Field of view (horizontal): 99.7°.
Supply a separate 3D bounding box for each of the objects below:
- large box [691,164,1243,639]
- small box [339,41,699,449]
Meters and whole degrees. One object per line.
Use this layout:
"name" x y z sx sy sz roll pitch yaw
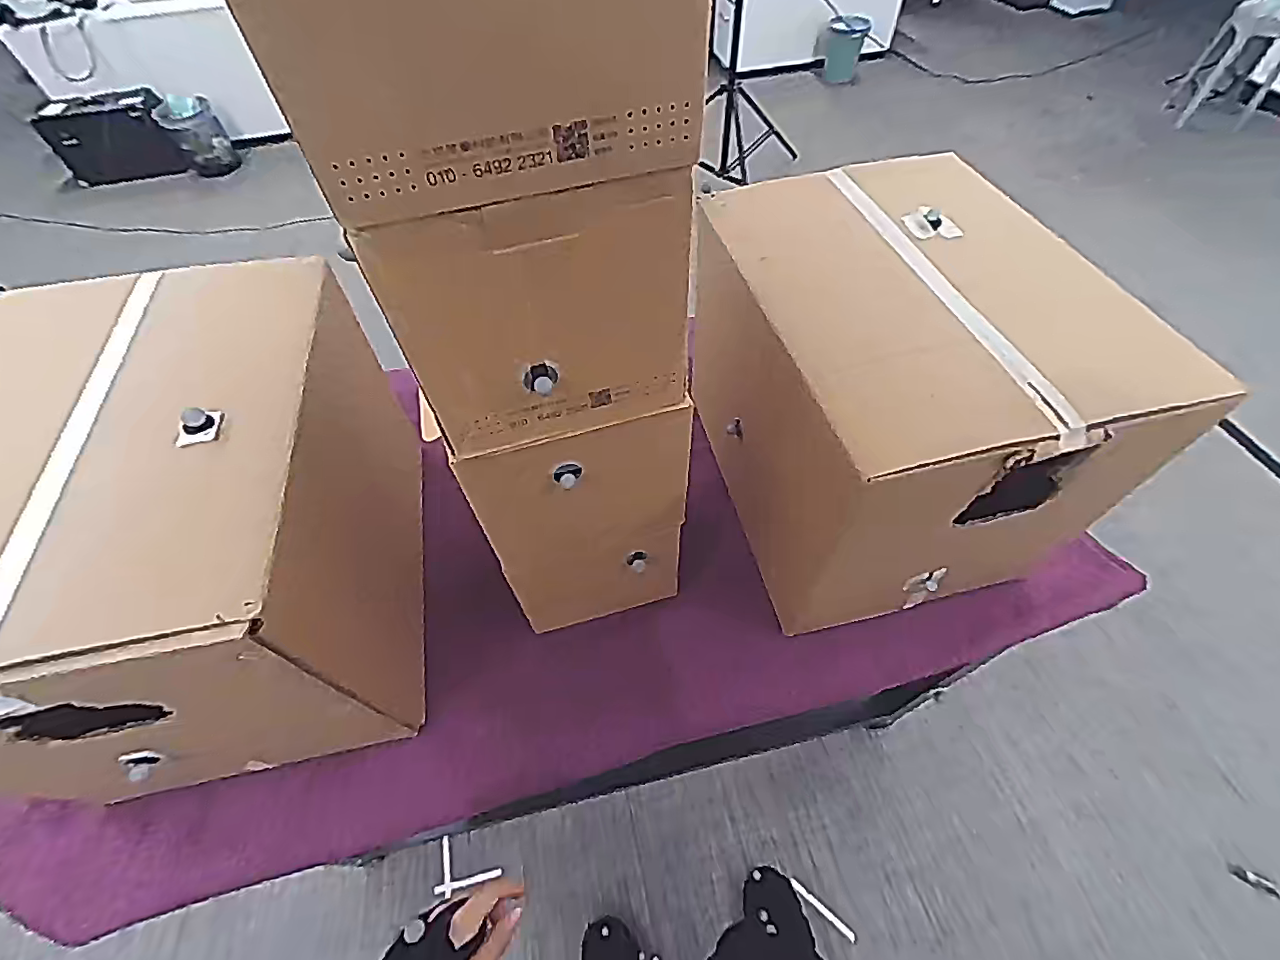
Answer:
"large box" 0.261 -0.092 0.616 0.320 0.320 0.408 -12 53 -6
"small box" -0.073 -0.150 0.353 0.168 0.176 0.179 -16 56 -9
